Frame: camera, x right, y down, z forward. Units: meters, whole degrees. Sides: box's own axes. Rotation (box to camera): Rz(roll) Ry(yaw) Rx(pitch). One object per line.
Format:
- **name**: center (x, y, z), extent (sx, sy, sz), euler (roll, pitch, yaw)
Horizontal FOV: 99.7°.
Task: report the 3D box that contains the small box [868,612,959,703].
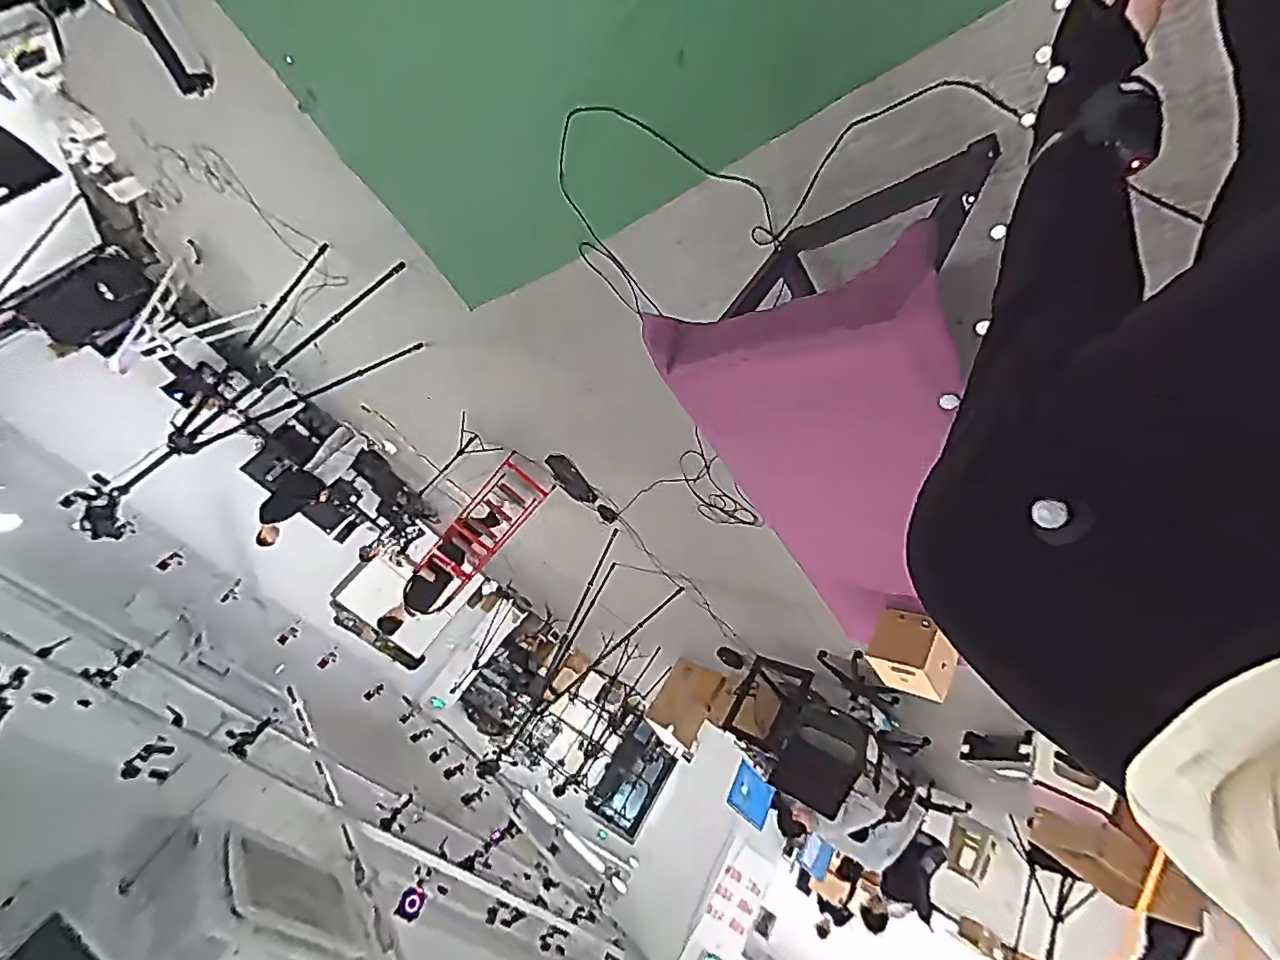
- **small box**: center (0.791, 0.503, 1.558), extent (0.168, 0.176, 0.179), euler (1, 138, 51)
